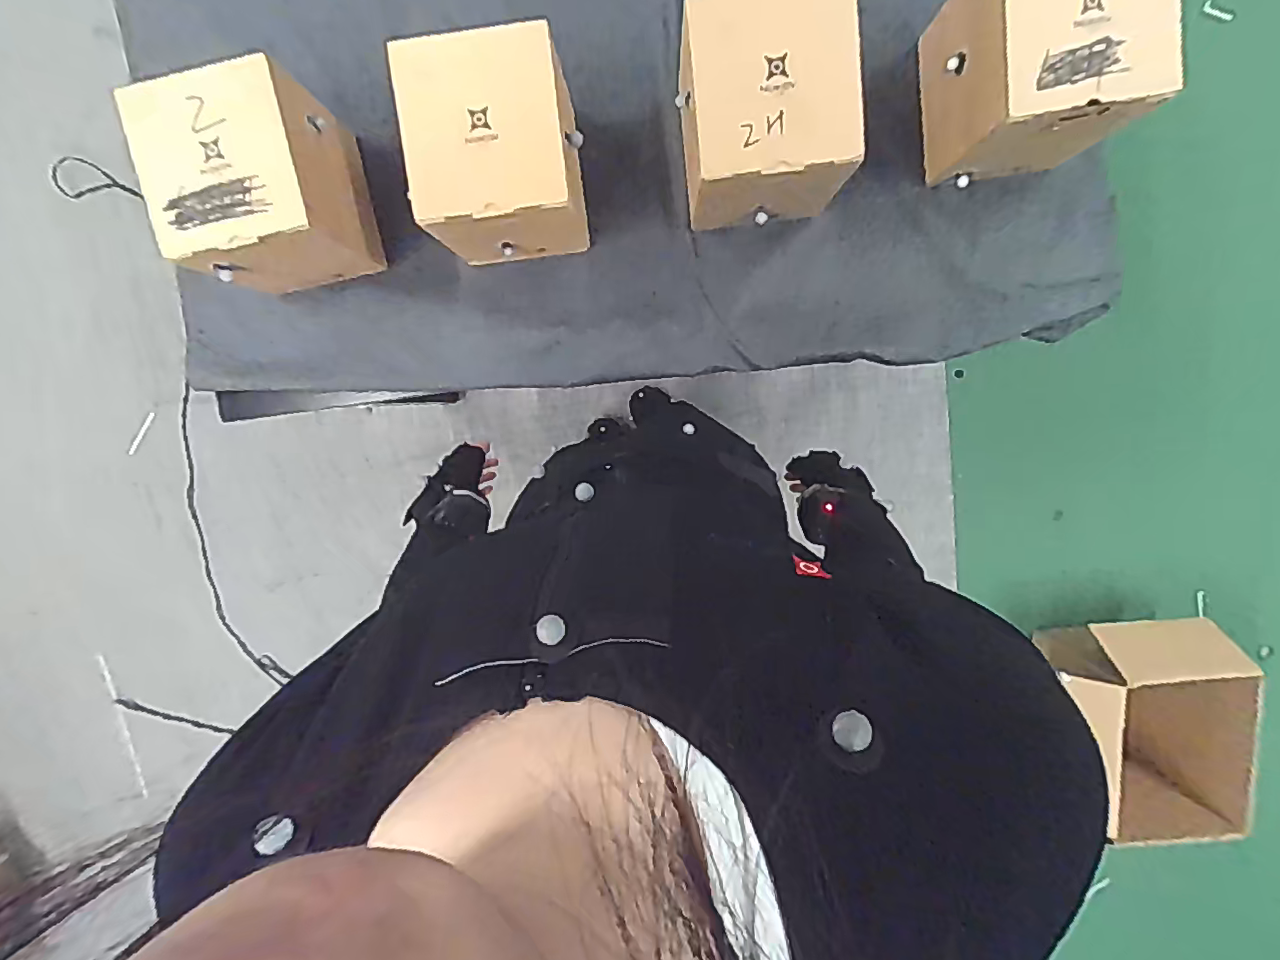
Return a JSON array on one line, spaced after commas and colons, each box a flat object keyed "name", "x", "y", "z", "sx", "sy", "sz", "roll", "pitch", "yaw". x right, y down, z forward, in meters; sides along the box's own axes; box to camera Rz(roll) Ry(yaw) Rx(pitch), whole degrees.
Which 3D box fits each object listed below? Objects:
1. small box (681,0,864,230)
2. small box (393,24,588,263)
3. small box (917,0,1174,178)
[{"name": "small box", "x": 0.138, "y": -0.410, "z": 0.616, "sx": 0.168, "sy": 0.176, "sz": 0.179, "roll": -6, "pitch": 98, "yaw": 2}, {"name": "small box", "x": -0.158, "y": -0.371, "z": 0.629, "sx": 0.168, "sy": 0.176, "sz": 0.179, "roll": -7, "pitch": 99, "yaw": 2}, {"name": "small box", "x": 0.433, "y": -0.461, "z": 0.603, "sx": 0.168, "sy": 0.176, "sz": 0.179, "roll": -7, "pitch": 98, "yaw": 2}]
